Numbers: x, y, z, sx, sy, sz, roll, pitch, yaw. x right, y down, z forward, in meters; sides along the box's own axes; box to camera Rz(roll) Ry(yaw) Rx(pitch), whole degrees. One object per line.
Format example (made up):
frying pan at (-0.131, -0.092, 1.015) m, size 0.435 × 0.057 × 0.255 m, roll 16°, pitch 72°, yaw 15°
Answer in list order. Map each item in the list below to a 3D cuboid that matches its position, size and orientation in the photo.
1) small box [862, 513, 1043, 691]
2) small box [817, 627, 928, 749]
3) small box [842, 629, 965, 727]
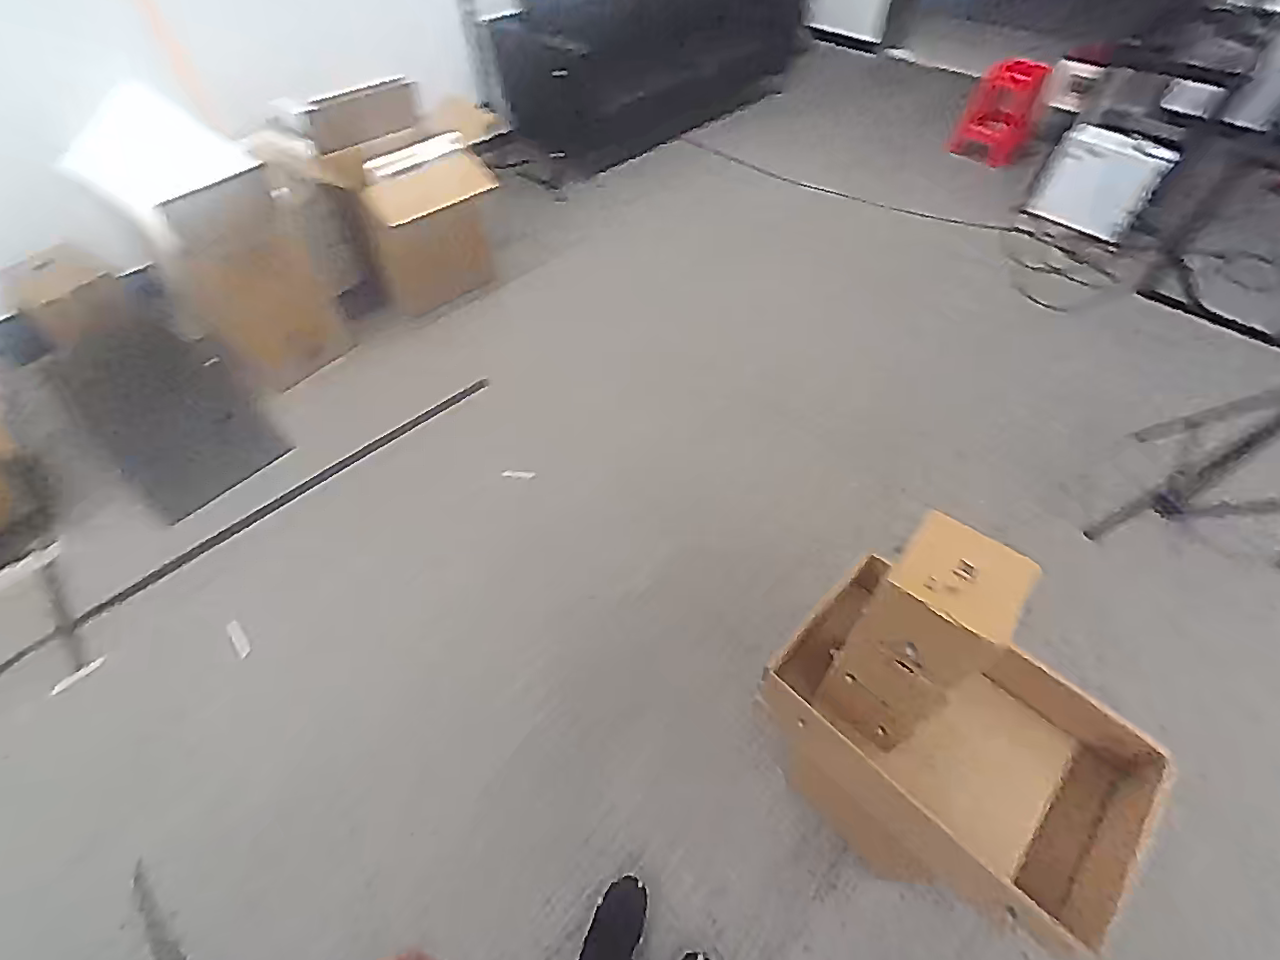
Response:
small box at (0.478, 0.191, 0.848) m, size 0.168 × 0.176 × 0.179 m, roll 33°, pitch 58°, yaw 25°
small box at (0.487, 0.413, 1.092) m, size 0.179 × 0.176 × 0.168 m, roll 34°, pitch 59°, yaw 26°
small box at (0.485, 0.306, 0.968) m, size 0.168 × 0.176 × 0.179 m, roll 35°, pitch 59°, yaw 26°
